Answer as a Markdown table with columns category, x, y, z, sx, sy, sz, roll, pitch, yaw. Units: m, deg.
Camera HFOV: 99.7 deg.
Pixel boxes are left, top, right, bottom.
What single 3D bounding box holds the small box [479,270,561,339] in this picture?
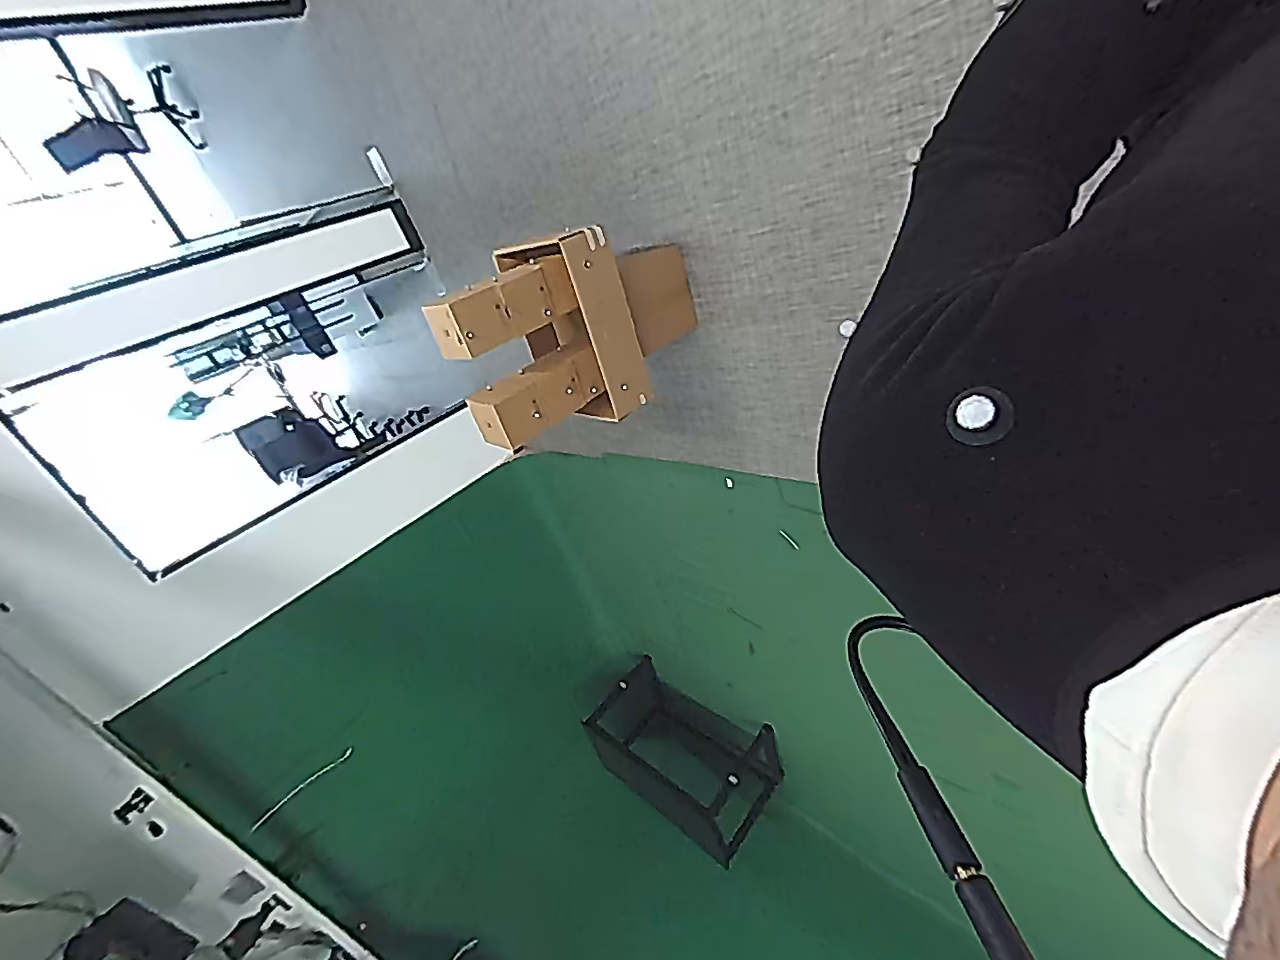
| category | x | y | z | sx | sy | sz | roll | pitch | yaw |
| --- | --- | --- | --- | --- | --- | --- | --- | --- | --- |
| small box | -0.374 | -0.563 | 1.727 | 0.179 | 0.176 | 0.168 | 17 | 134 | 43 |

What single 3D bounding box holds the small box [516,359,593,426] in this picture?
| category | x | y | z | sx | sy | sz | roll | pitch | yaw |
| --- | --- | --- | --- | --- | --- | --- | --- | --- | --- |
| small box | -0.294 | -0.310 | 1.878 | 0.179 | 0.176 | 0.168 | 17 | 135 | 42 |

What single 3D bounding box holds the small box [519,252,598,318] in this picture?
| category | x | y | z | sx | sy | sz | roll | pitch | yaw |
| --- | --- | --- | --- | --- | --- | --- | --- | --- | --- |
| small box | -0.270 | -0.653 | 1.818 | 0.179 | 0.176 | 0.168 | 14 | 132 | 43 |

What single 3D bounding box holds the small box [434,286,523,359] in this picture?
| category | x | y | z | sx | sy | sz | roll | pitch | yaw |
| --- | --- | --- | --- | --- | --- | --- | --- | --- | --- |
| small box | -0.487 | -0.478 | 1.644 | 0.179 | 0.176 | 0.168 | 13 | 132 | 45 |

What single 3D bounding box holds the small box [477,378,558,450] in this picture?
| category | x | y | z | sx | sy | sz | roll | pitch | yaw |
| --- | --- | --- | --- | --- | --- | --- | --- | --- | --- |
| small box | -0.402 | -0.225 | 1.792 | 0.179 | 0.176 | 0.168 | 17 | 135 | 43 |
